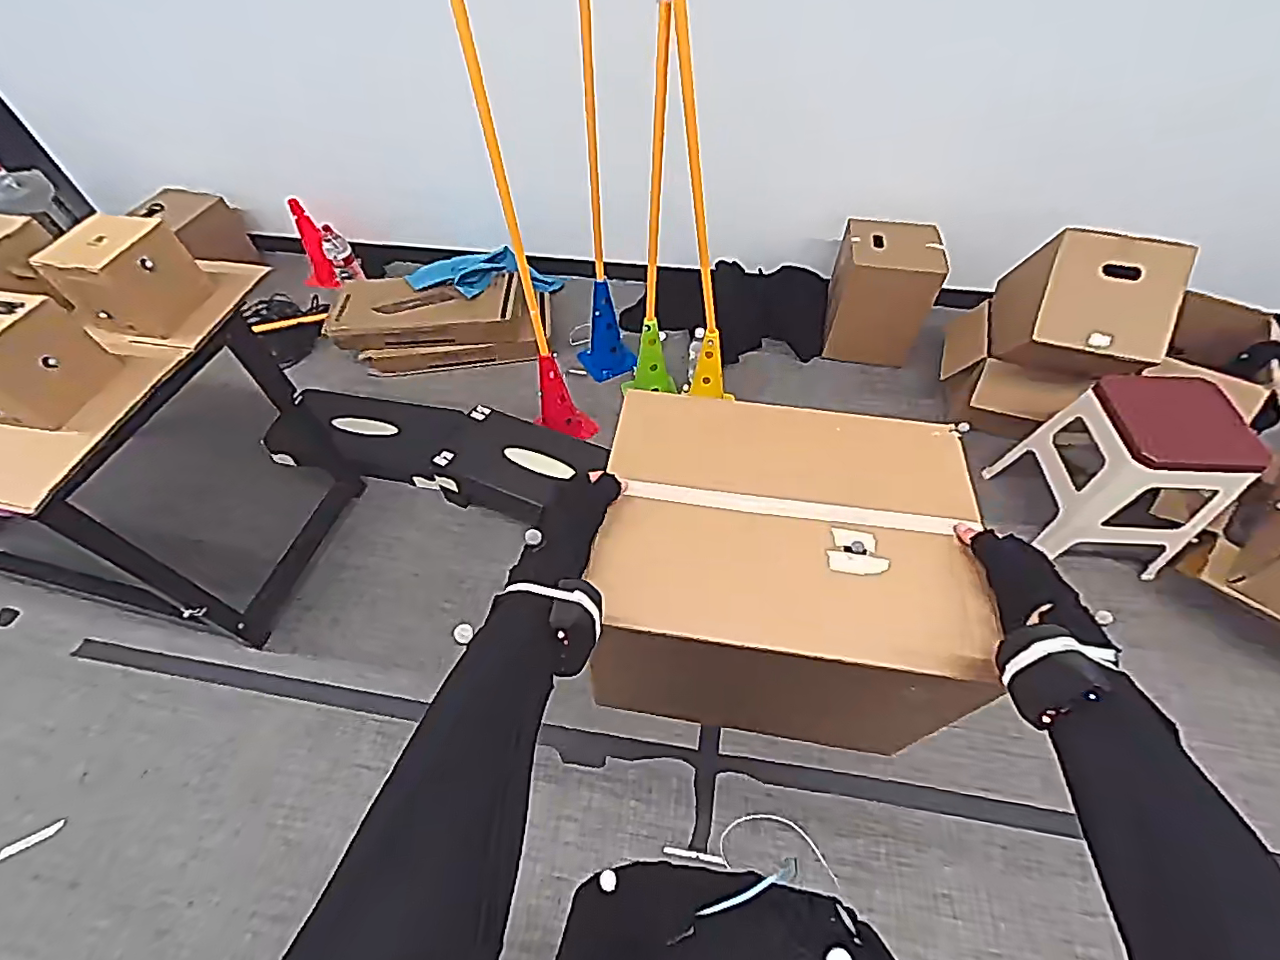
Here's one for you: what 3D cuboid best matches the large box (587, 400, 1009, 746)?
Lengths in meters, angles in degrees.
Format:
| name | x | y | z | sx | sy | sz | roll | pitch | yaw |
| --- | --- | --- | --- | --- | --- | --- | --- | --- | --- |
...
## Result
| name | x | y | z | sx | sy | sz | roll | pitch | yaw |
| --- | --- | --- | --- | --- | --- | --- | --- | --- | --- |
| large box | 0.162 | 0.128 | 0.713 | 0.408 | 0.320 | 0.320 | 8 | 55 | 5 |
